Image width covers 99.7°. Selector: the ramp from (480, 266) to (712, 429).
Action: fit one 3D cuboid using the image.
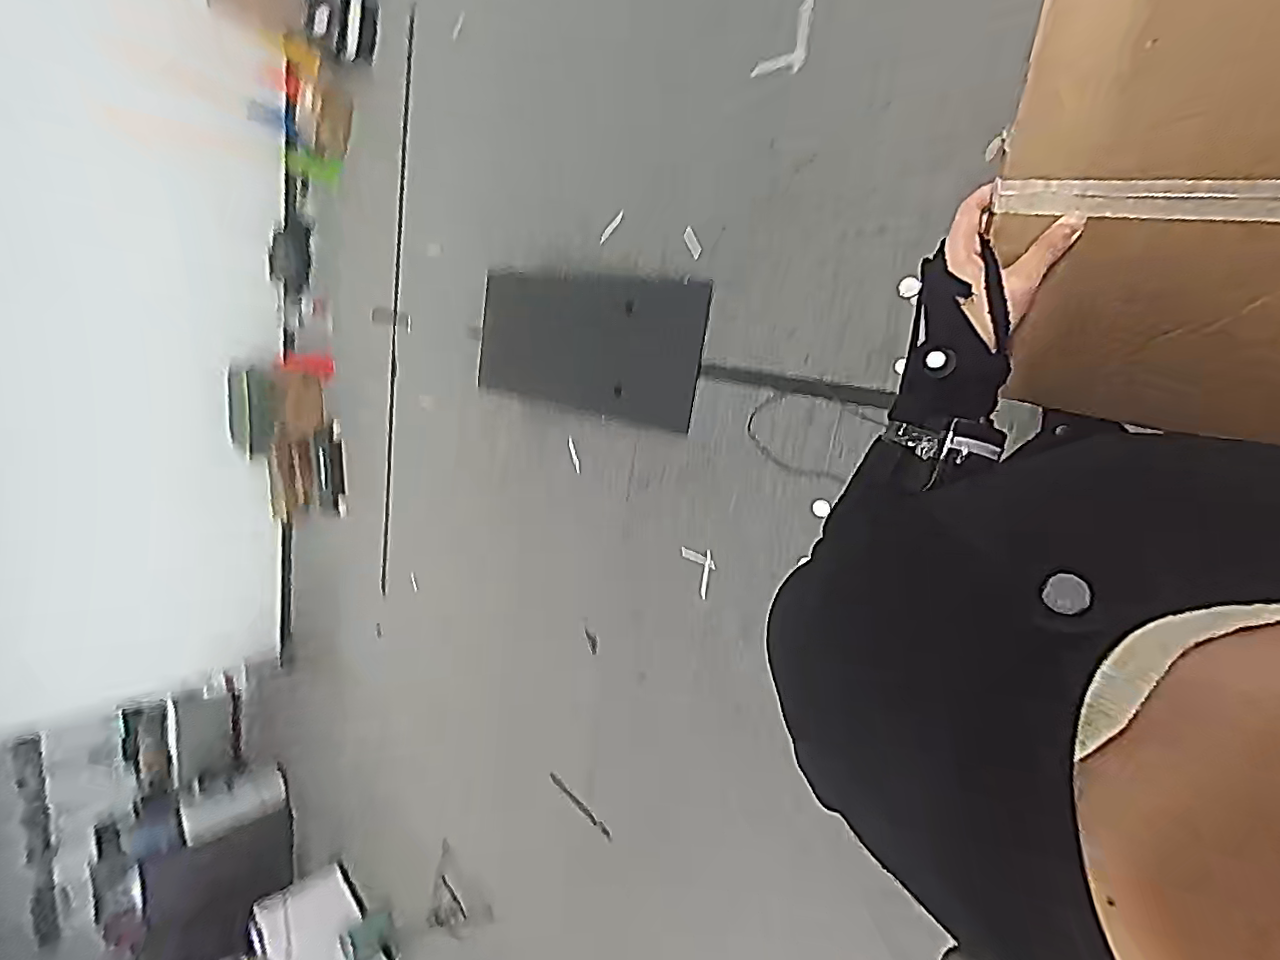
[{"bbox_3d":[-0.221,-0.517,1.987,0.991,0.206,0.509,17,104,40],"label":"ramp"}]
